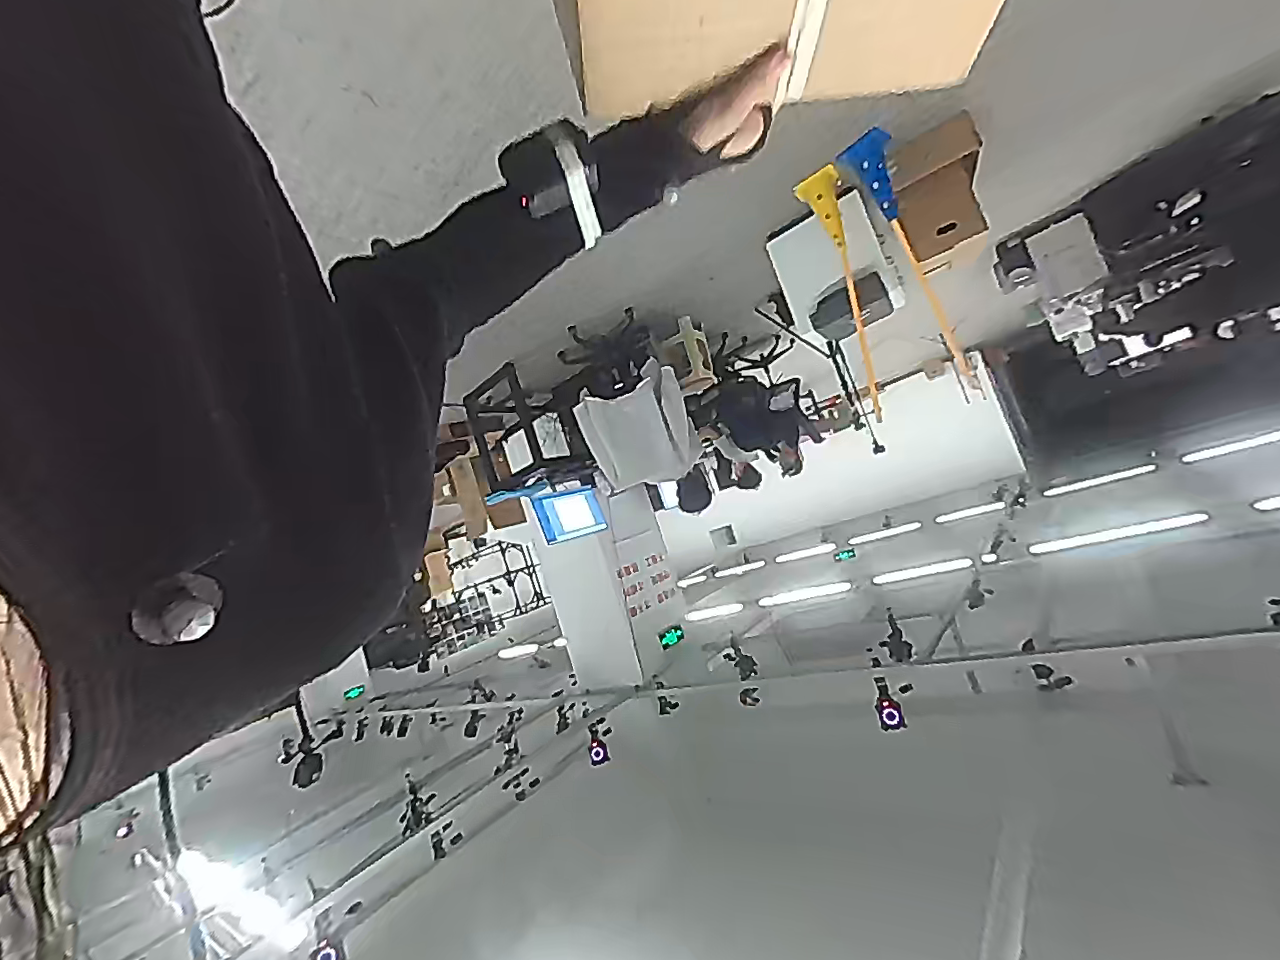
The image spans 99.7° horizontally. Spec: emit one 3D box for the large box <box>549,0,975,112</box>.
[{"bbox_3d":[0.072,-0.525,0.325,0.320,0.320,0.408,-9,152,-7],"label":"large box"}]
